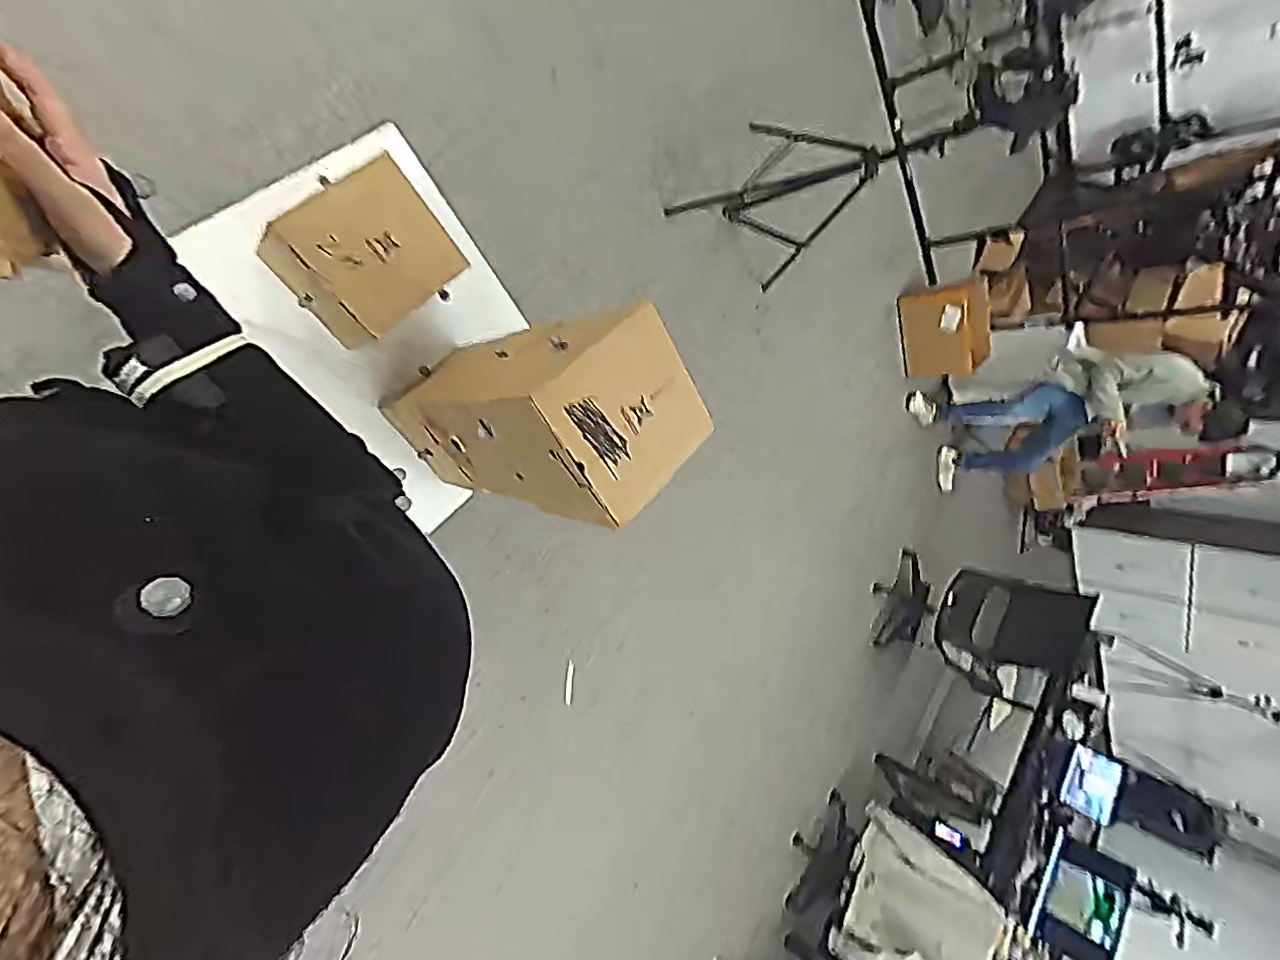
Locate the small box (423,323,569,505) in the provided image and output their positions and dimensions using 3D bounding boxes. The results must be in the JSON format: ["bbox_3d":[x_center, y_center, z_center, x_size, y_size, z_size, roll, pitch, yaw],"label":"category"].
[{"bbox_3d":[-0.160,-0.091,0.738,0.179,0.176,0.168,-47,121,-24],"label":"small box"}]

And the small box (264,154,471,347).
[{"bbox_3d":[-0.375,-0.301,0.740,0.179,0.176,0.168,-50,124,-23],"label":"small box"}]

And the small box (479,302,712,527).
[{"bbox_3d":[-0.057,-0.072,0.610,0.179,0.176,0.168,-47,121,-27],"label":"small box"}]

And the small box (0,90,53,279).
[{"bbox_3d":[-0.435,-0.196,0.258,0.168,0.176,0.179,-16,121,-35],"label":"small box"}]
